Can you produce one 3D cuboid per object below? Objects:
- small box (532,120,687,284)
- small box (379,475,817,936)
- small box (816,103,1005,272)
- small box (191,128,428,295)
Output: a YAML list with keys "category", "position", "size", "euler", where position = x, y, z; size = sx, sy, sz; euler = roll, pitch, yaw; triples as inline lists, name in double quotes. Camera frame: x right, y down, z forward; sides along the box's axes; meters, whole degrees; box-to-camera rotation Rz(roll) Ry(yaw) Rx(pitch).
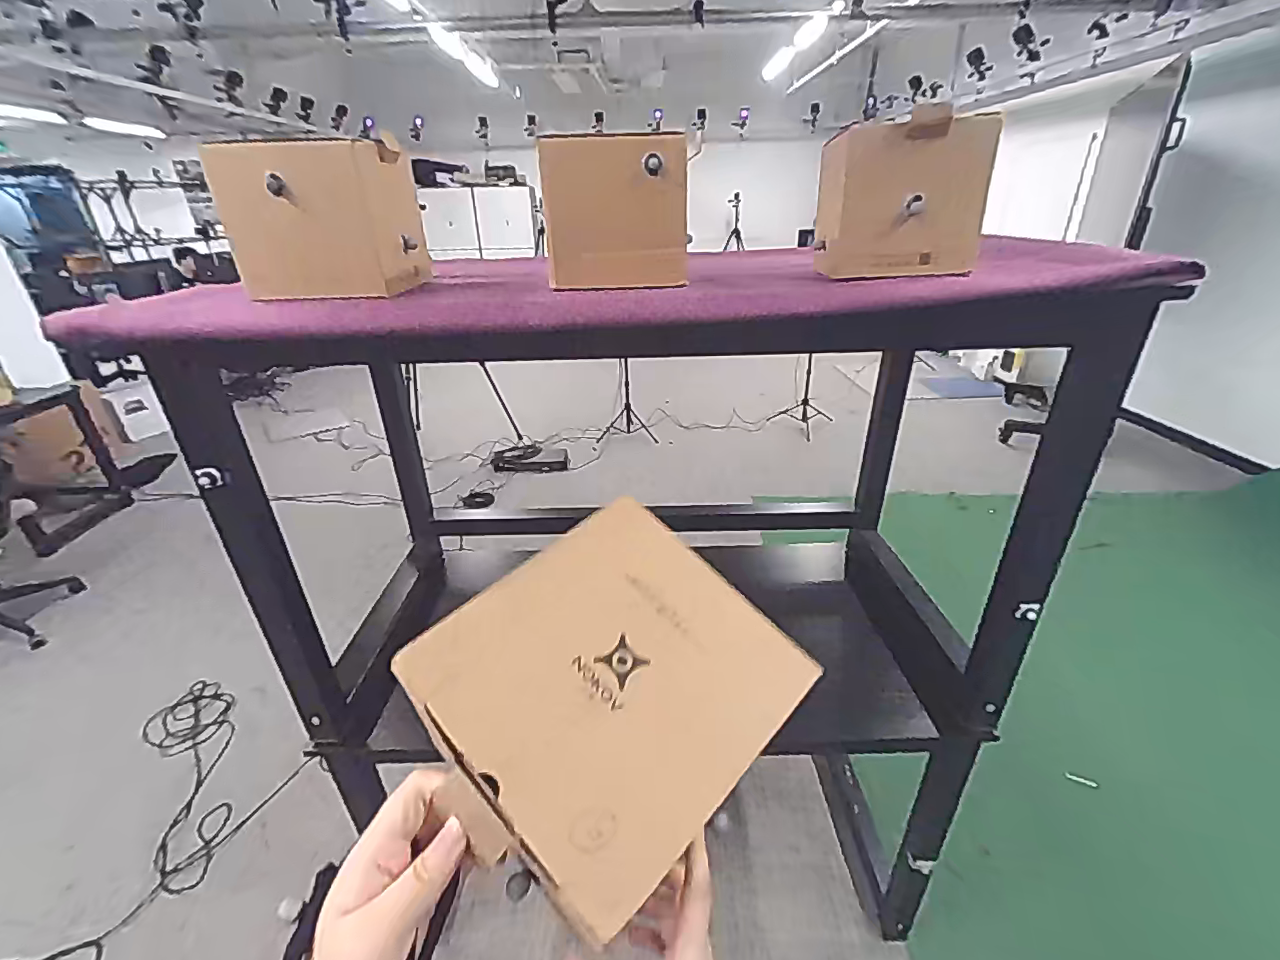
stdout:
- category: "small box"
  position: [-0.032, -0.349, 0.701]
  size: [0.179, 0.176, 0.168]
  euler: [-1, 26, 0]
- category: "small box"
  position: [-0.027, 0.137, 0.347]
  size: [0.168, 0.176, 0.179]
  euler: [42, 57, 18]
- category: "small box"
  position: [0.330, -0.365, 0.700]
  size: [0.168, 0.176, 0.179]
  euler: [0, 25, 7]
- category: "small box"
  position: [-0.394, -0.333, 0.684]
  size: [0.179, 0.176, 0.168]
  euler: [-1, 28, 0]
